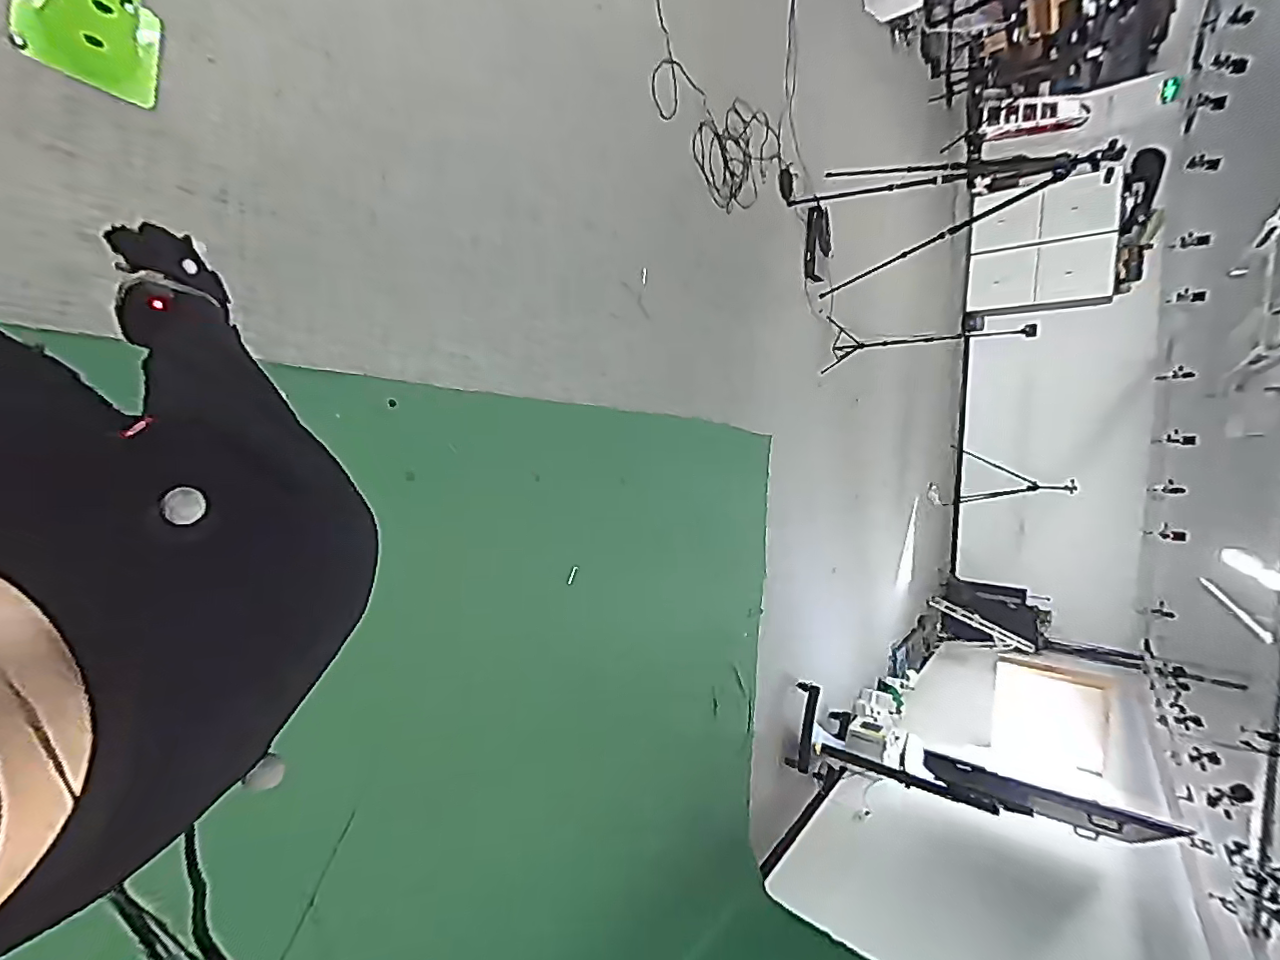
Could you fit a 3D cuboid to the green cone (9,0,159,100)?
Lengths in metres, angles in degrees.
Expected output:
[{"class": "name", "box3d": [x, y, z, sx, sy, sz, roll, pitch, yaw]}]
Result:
[{"class": "green cone", "box3d": [-0.934, -0.873, 0.942, 0.200, 0.368, 0.202, 3, 90, -52]}]
